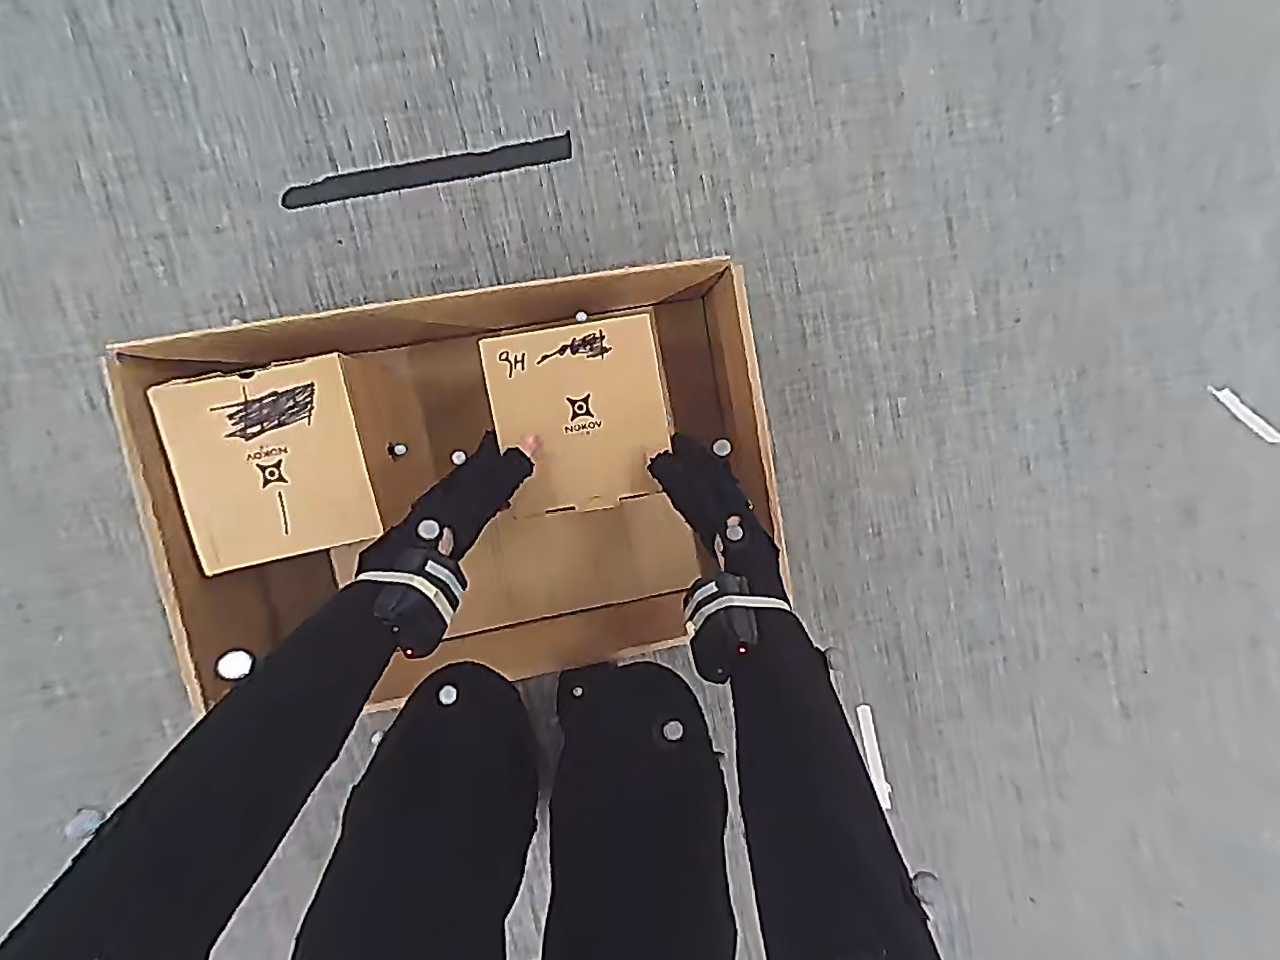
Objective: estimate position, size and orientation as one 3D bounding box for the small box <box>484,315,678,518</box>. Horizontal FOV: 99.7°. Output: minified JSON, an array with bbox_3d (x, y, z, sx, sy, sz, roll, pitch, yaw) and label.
[{"bbox_3d":[-0.060,-0.069,0.598,0.168,0.176,0.179,-10,96,-5],"label":"small box"}]
